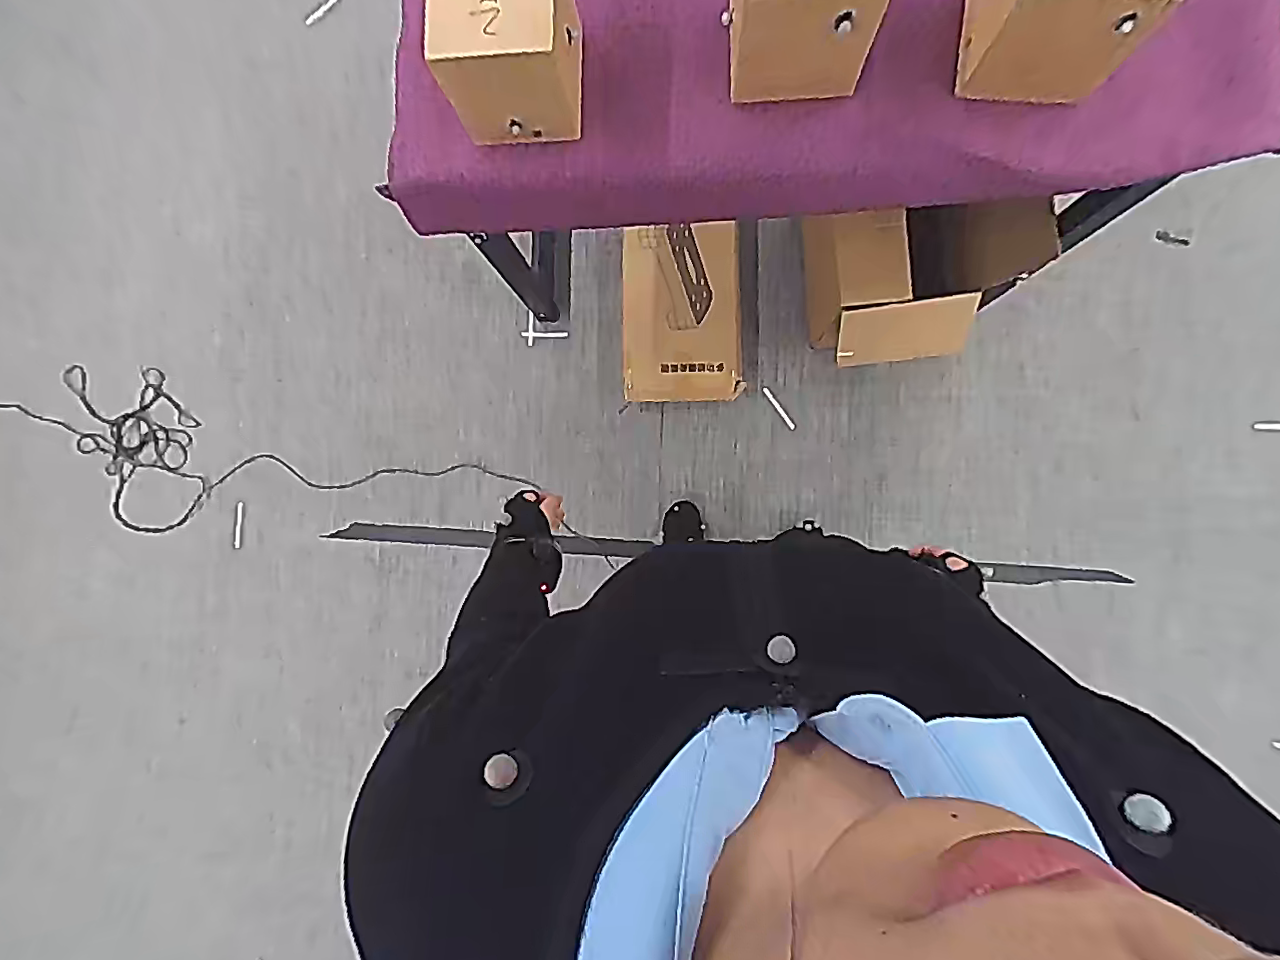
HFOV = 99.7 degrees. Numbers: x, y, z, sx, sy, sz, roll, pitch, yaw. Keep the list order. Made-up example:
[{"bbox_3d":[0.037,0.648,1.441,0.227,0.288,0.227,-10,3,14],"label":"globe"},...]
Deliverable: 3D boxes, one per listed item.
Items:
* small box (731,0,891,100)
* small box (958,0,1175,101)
[{"bbox_3d":[0.215,-0.638,0.708,0.179,0.176,0.168,0,85,5],"label":"small box"},{"bbox_3d":[0.531,-0.615,0.678,0.179,0.176,0.168,7,88,5],"label":"small box"}]
